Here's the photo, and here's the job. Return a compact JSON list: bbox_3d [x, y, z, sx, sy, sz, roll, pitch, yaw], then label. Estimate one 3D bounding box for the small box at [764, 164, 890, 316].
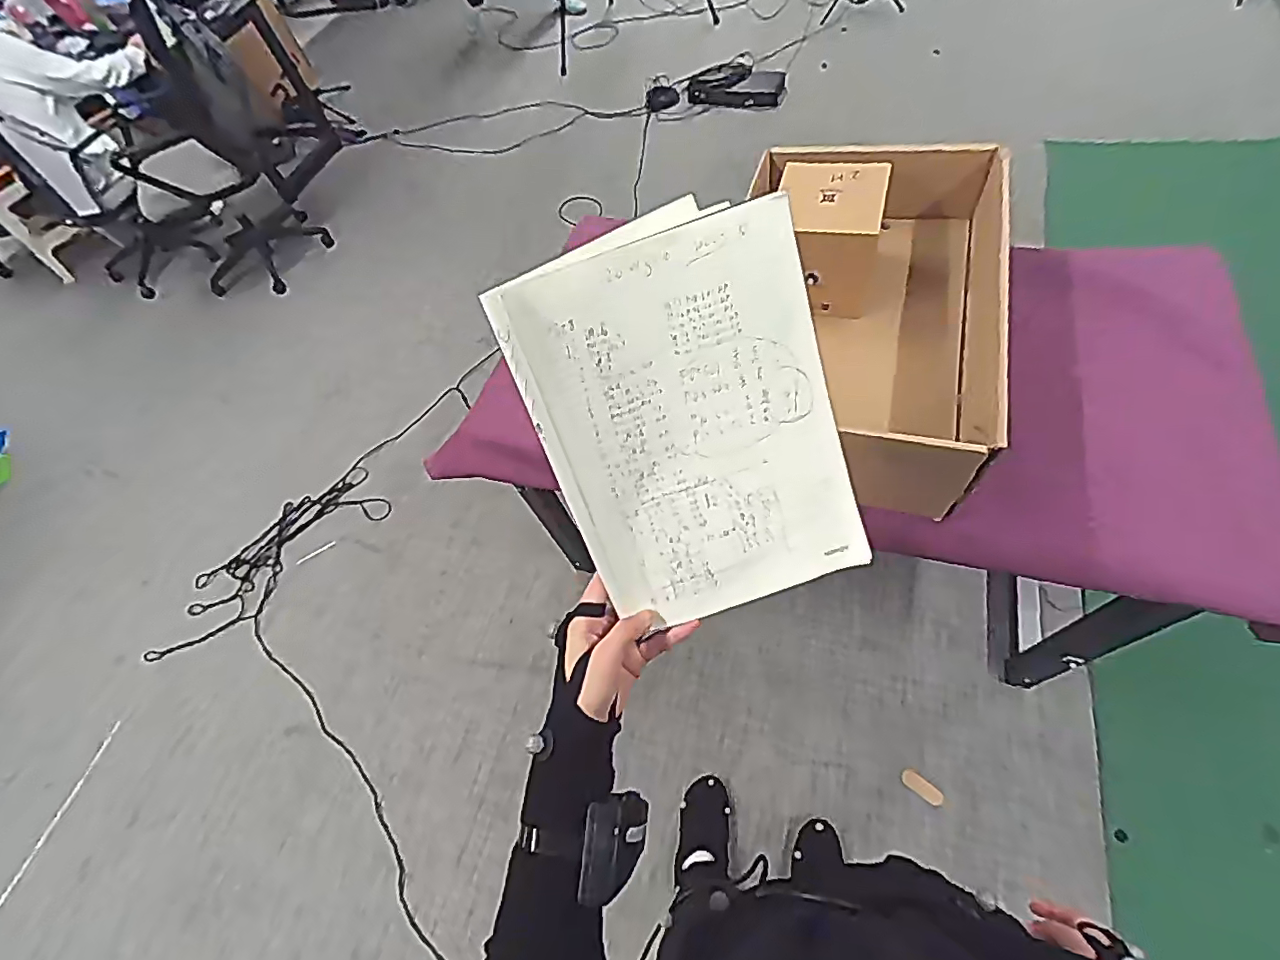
[{"bbox_3d":[0.310,-0.401,0.912,0.168,0.176,0.179,11,63,18],"label":"small box"}]
